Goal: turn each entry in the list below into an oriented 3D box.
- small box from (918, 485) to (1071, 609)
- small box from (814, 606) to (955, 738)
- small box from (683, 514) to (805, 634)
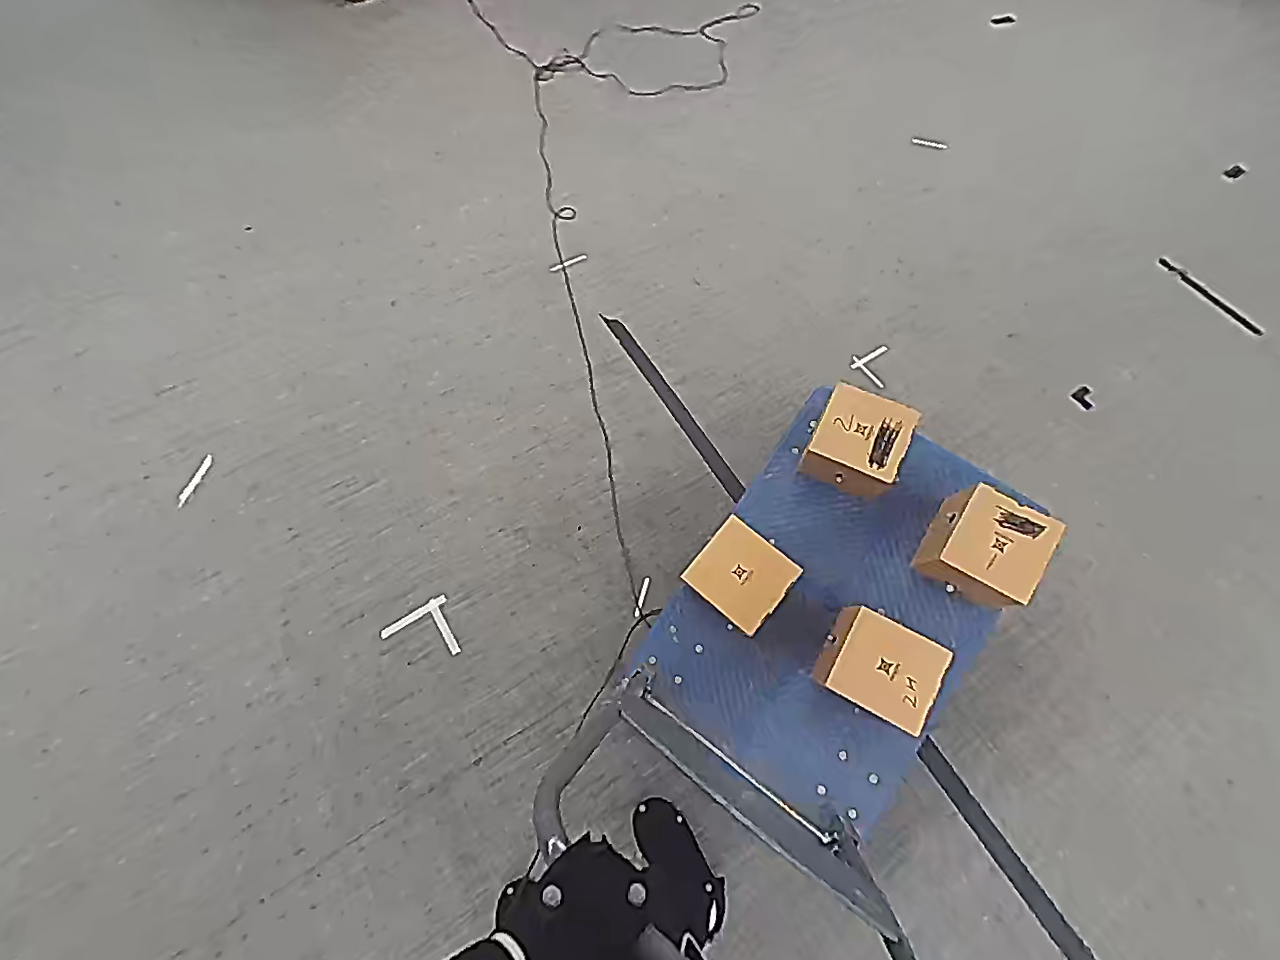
[{"bbox_3d":[0.684,0.137,1.069,0.168,0.176,0.179,31,83,14],"label":"small box"},{"bbox_3d":[0.458,0.362,1.044,0.179,0.176,0.168,28,82,14],"label":"small box"},{"bbox_3d":[0.208,0.199,1.121,0.179,0.176,0.168,40,84,13],"label":"small box"}]
